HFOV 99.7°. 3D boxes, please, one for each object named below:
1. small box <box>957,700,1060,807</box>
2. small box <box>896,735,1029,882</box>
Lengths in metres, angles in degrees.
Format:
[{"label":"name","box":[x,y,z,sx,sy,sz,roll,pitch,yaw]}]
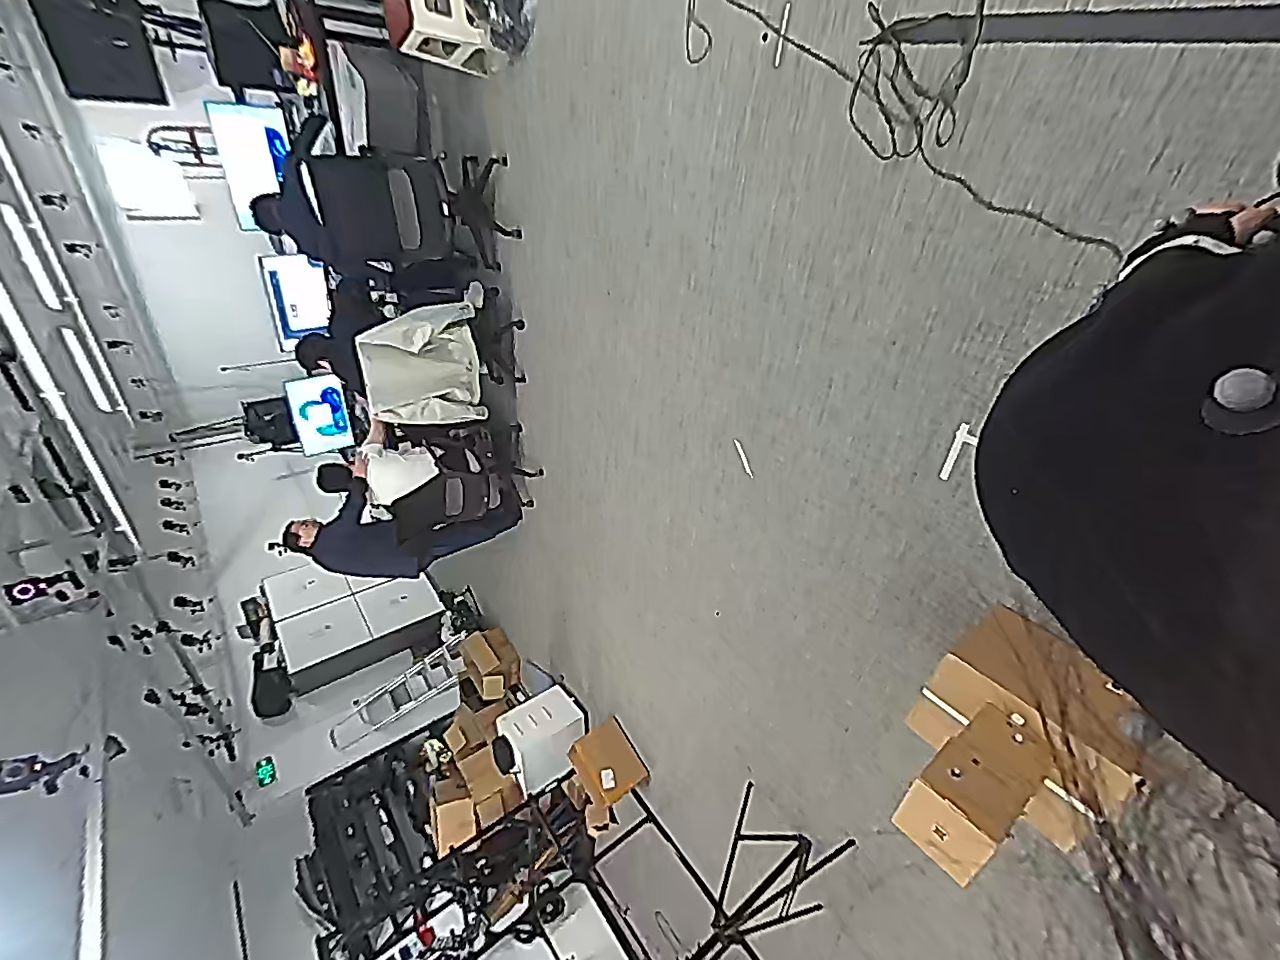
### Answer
[{"label":"small box","box":[0.820,0.652,1.245,0.168,0.176,0.179,36,133,40]},{"label":"small box","box":[0.690,0.691,1.155,0.168,0.176,0.179,36,134,41]}]
